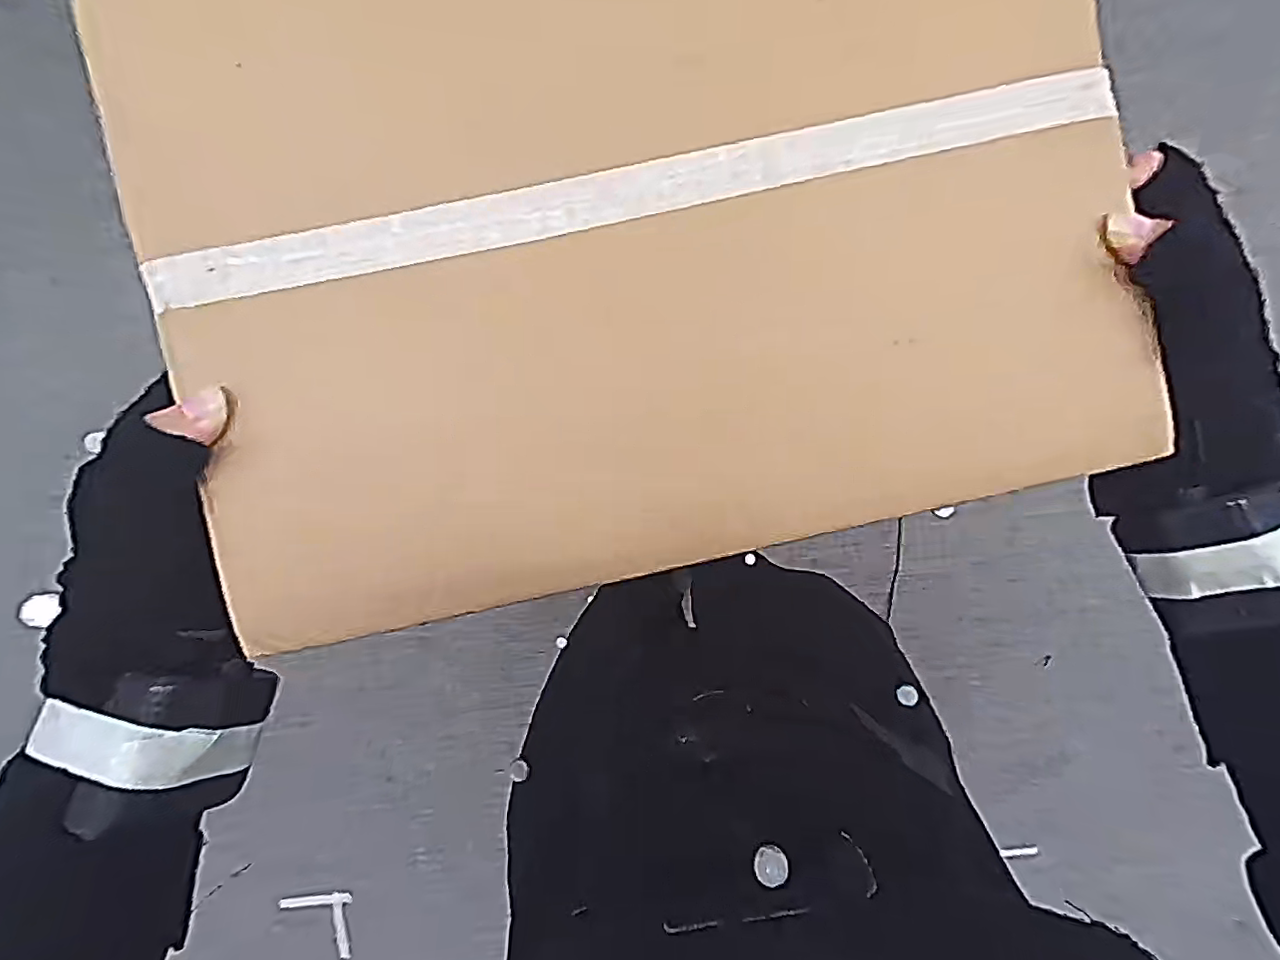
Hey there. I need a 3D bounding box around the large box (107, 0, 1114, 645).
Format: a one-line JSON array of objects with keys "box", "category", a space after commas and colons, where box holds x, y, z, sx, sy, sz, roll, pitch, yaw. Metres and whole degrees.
[{"box": [-0.006, -0.125, 0.387, 0.408, 0.320, 0.320, -12, 92, -2], "category": "large box"}]
